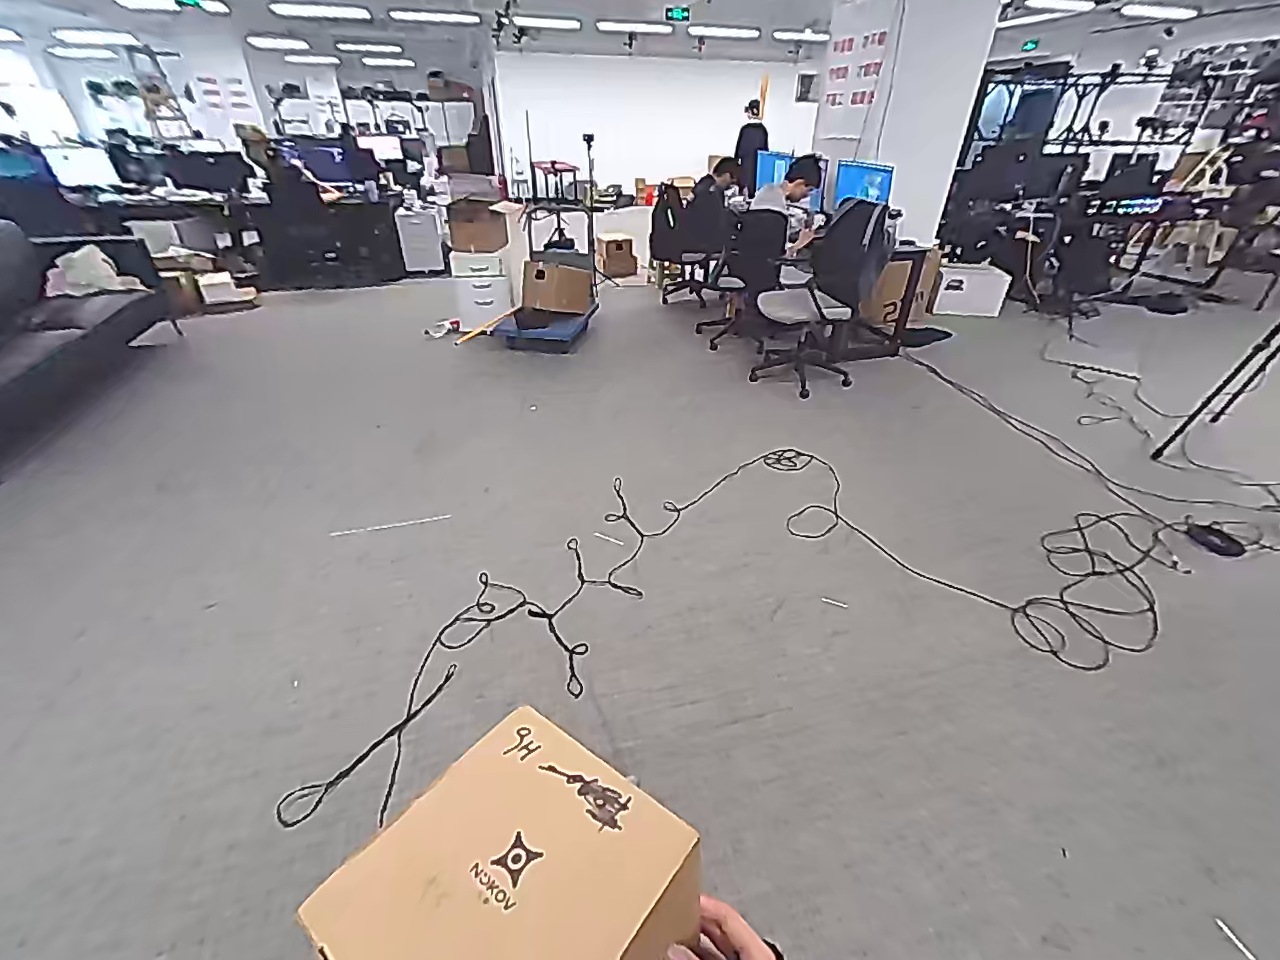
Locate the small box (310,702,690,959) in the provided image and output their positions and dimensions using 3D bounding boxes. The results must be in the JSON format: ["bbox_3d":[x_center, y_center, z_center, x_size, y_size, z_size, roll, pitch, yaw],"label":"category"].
[{"bbox_3d":[-0.075,0.303,0.368,0.168,0.176,0.179,19,37,34],"label":"small box"}]
